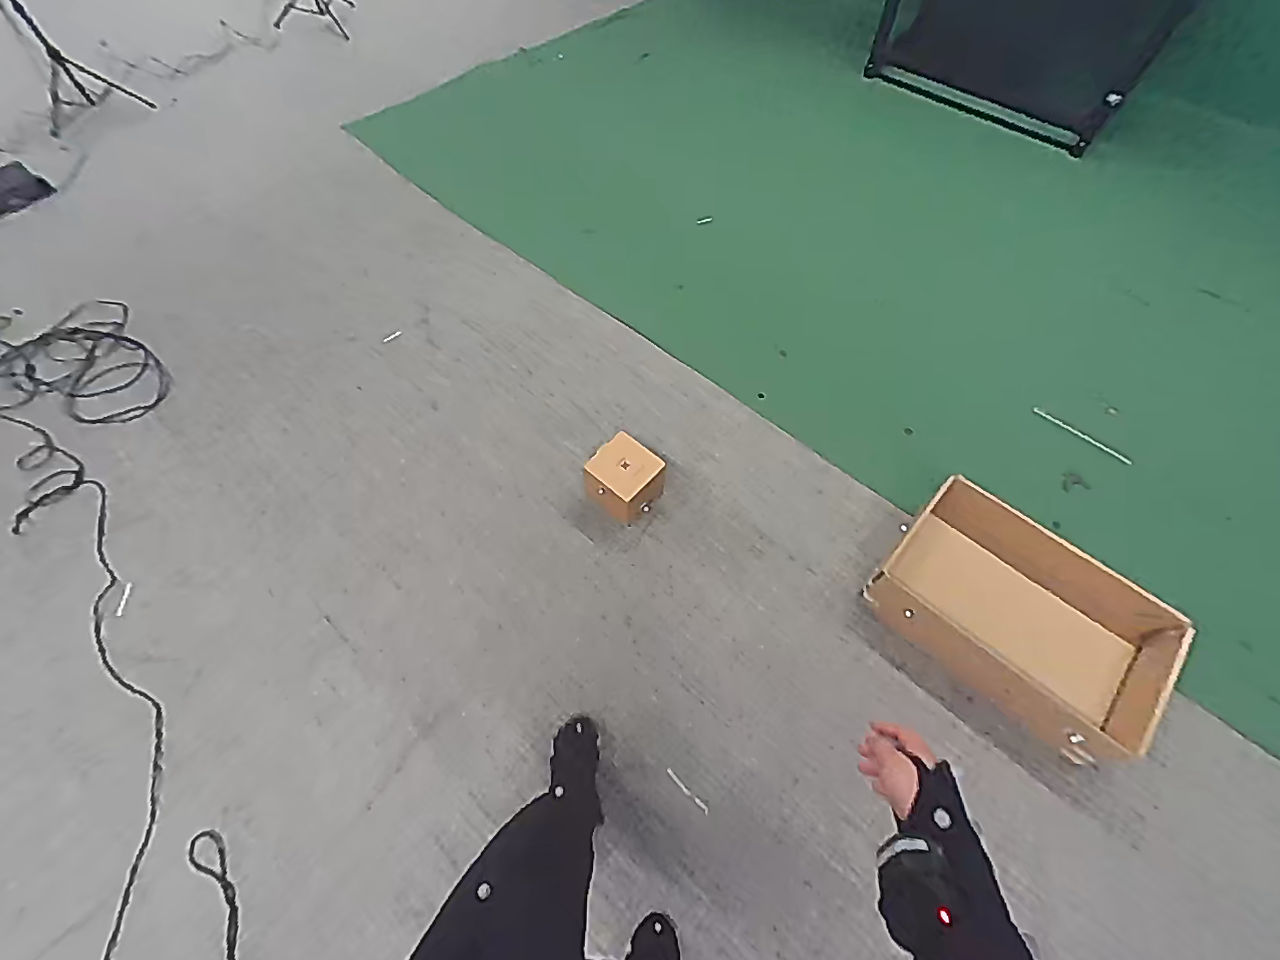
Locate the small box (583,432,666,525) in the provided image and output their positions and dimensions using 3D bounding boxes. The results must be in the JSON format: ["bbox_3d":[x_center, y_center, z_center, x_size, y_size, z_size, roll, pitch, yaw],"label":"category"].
[{"bbox_3d":[-0.045,0.001,1.560,0.179,0.176,0.168,38,67,17],"label":"small box"}]
